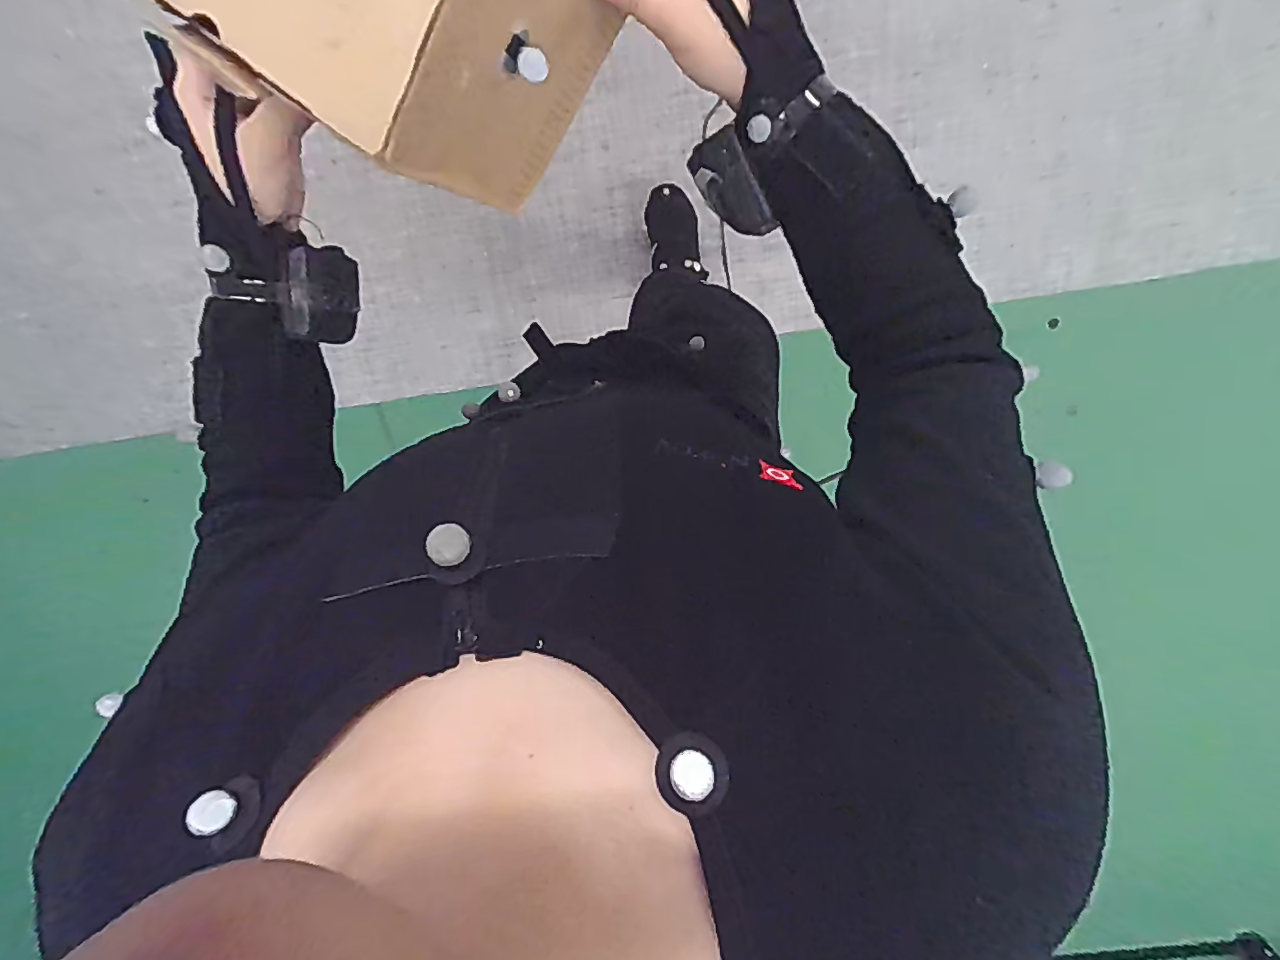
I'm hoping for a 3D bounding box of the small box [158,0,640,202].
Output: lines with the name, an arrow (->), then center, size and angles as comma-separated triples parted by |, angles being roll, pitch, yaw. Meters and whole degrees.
small box -> -0.109, -0.269, 0.269 | 0.168, 0.176, 0.179 | 35, 112, -4
